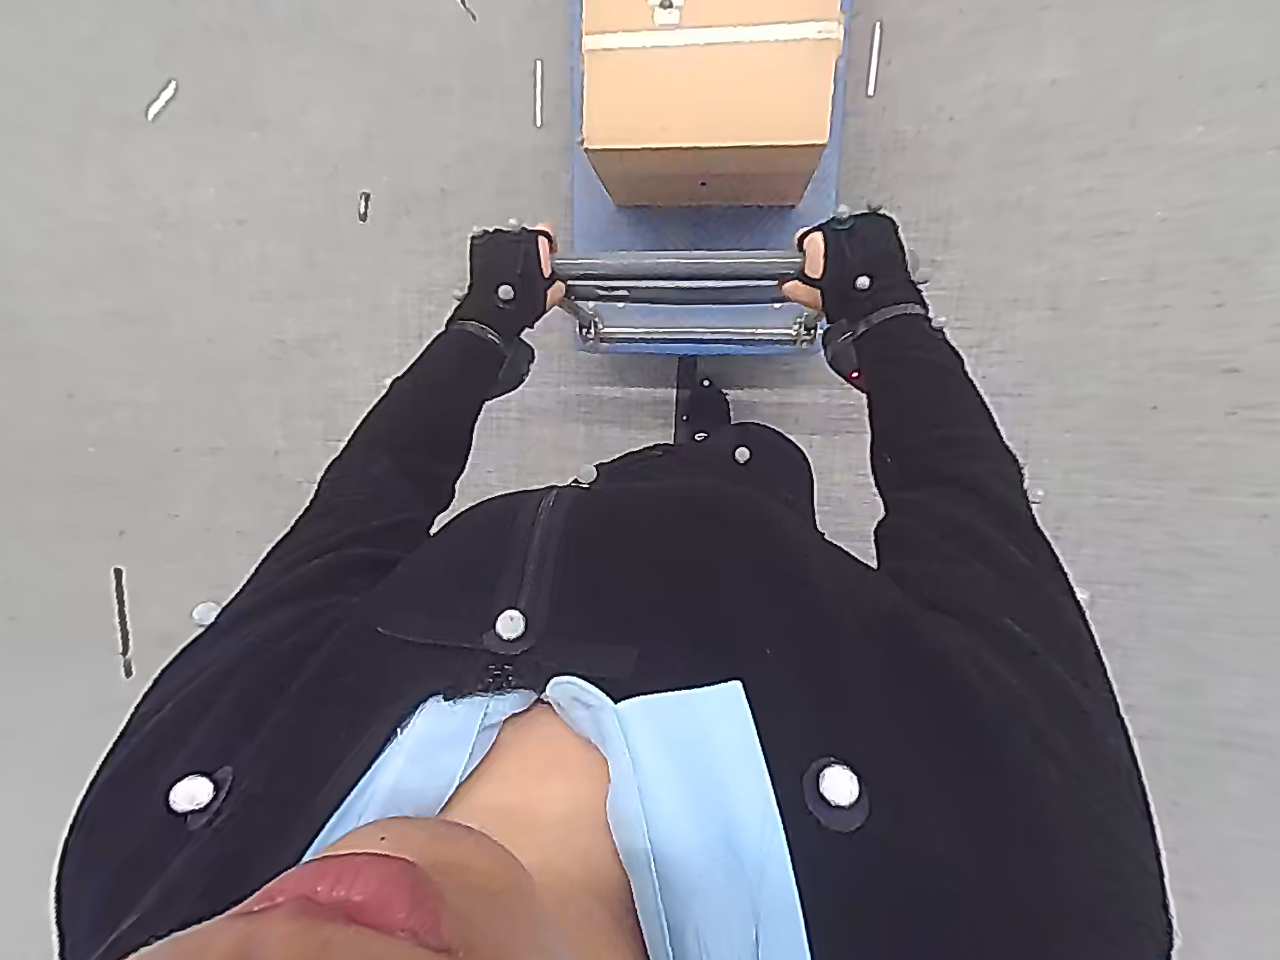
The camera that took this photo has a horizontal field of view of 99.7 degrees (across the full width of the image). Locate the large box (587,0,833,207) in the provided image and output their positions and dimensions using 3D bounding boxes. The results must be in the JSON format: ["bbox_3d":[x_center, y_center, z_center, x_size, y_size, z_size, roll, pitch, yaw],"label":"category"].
[{"bbox_3d":[0.130,-0.733,1.029,0.408,0.320,0.320,3,100,8],"label":"large box"}]
